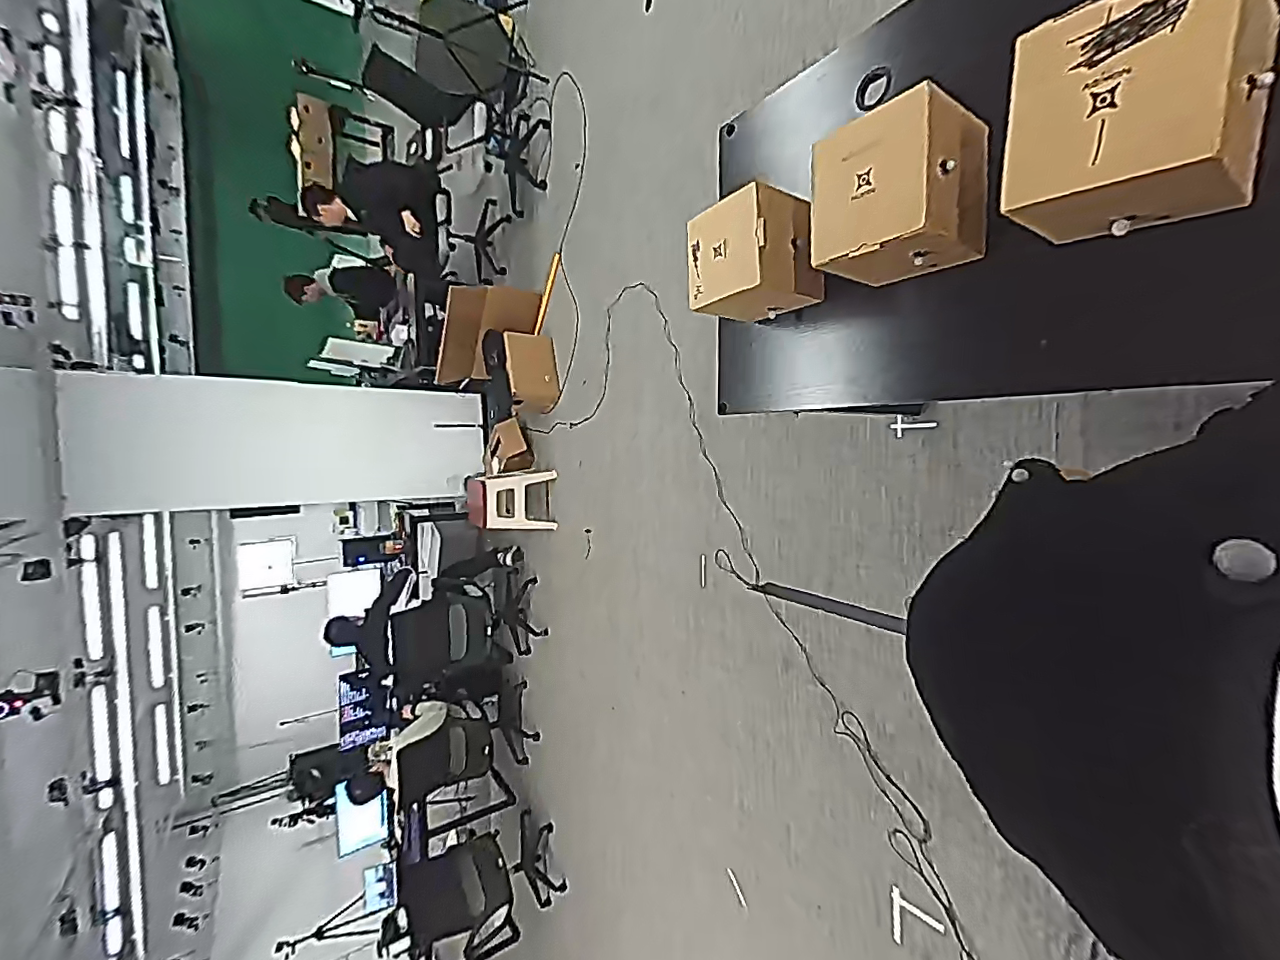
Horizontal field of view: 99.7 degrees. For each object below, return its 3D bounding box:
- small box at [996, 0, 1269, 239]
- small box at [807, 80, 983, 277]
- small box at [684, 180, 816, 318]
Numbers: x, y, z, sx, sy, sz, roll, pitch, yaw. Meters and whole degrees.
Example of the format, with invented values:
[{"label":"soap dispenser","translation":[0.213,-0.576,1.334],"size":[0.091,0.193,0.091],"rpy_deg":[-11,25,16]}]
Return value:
[{"label":"small box","translation":[0.496,-0.369,0.549],"size":[0.168,0.176,0.179],"rpy_deg":[12,102,53]},{"label":"small box","translation":[0.353,-0.394,0.752],"size":[0.168,0.176,0.179],"rpy_deg":[3,94,54]},{"label":"small box","translation":[0.199,-0.397,0.965],"size":[0.179,0.176,0.168],"rpy_deg":[1,93,54]}]
